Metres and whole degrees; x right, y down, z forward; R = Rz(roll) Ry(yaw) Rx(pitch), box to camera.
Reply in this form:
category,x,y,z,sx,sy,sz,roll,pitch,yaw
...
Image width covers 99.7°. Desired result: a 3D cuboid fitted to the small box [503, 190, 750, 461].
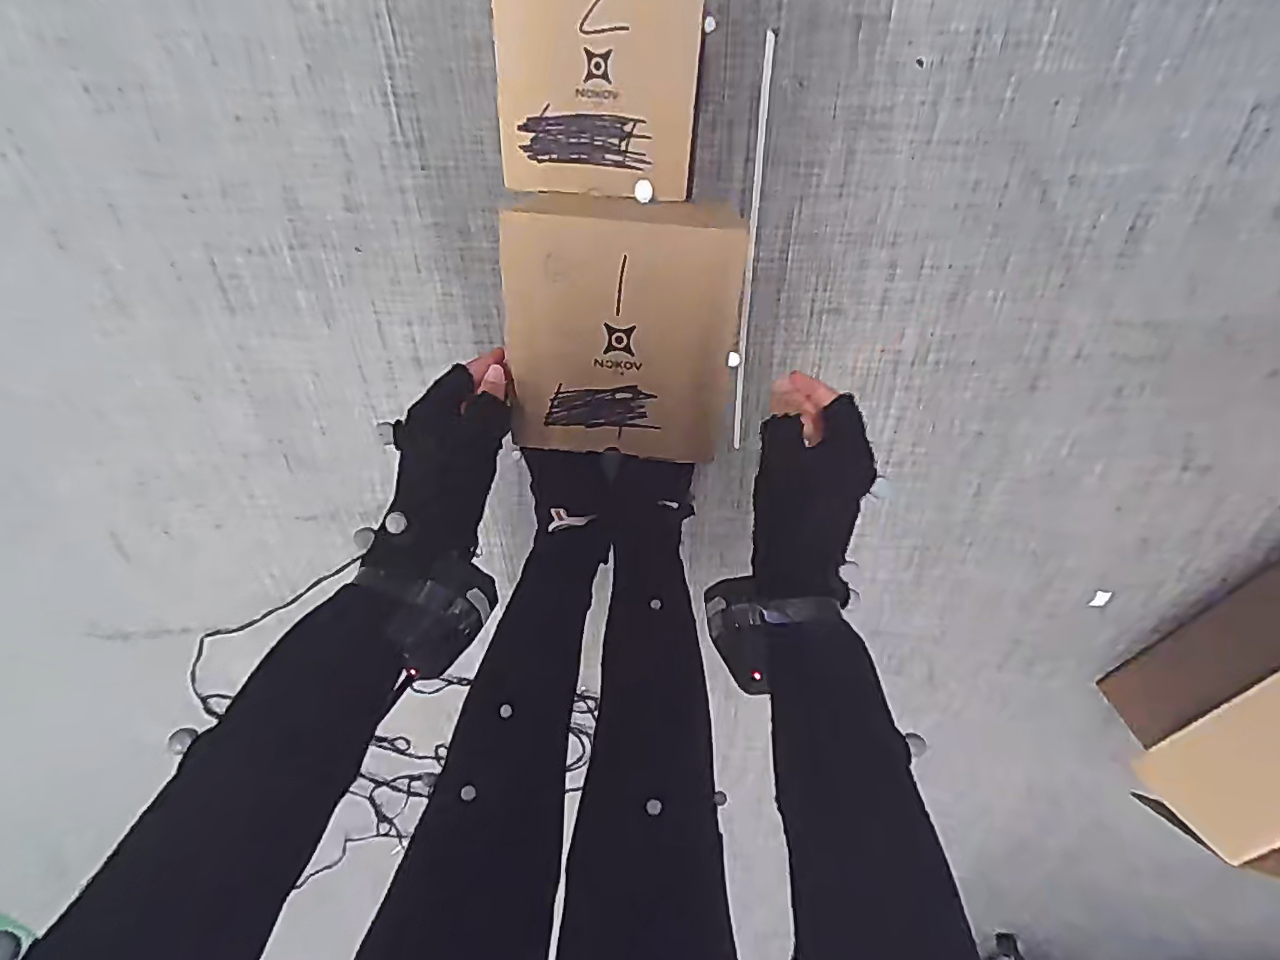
category,x,y,z,sx,sy,sz,roll,pitch,yaw
small box,-0.010,-0.138,0.461,0.168,0.176,0.179,5,121,0
